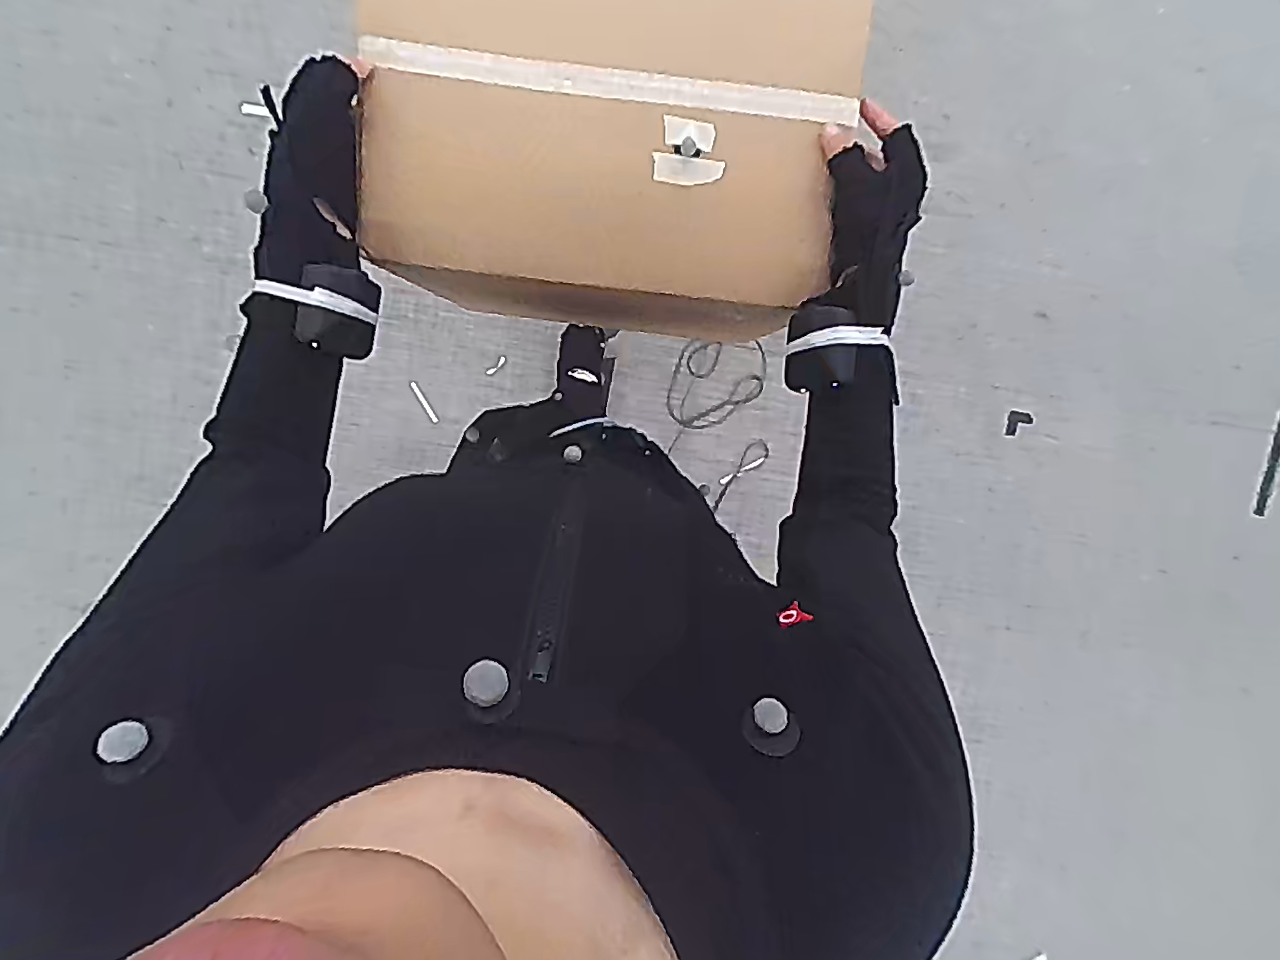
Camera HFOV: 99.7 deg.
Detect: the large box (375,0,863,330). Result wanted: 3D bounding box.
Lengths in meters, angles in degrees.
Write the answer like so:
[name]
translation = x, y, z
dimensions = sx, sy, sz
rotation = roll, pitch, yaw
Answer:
[large box]
translation = -0.025, -0.357, 0.601
dimensions = 0.408, 0.320, 0.320
rotation = 6, 100, -3
